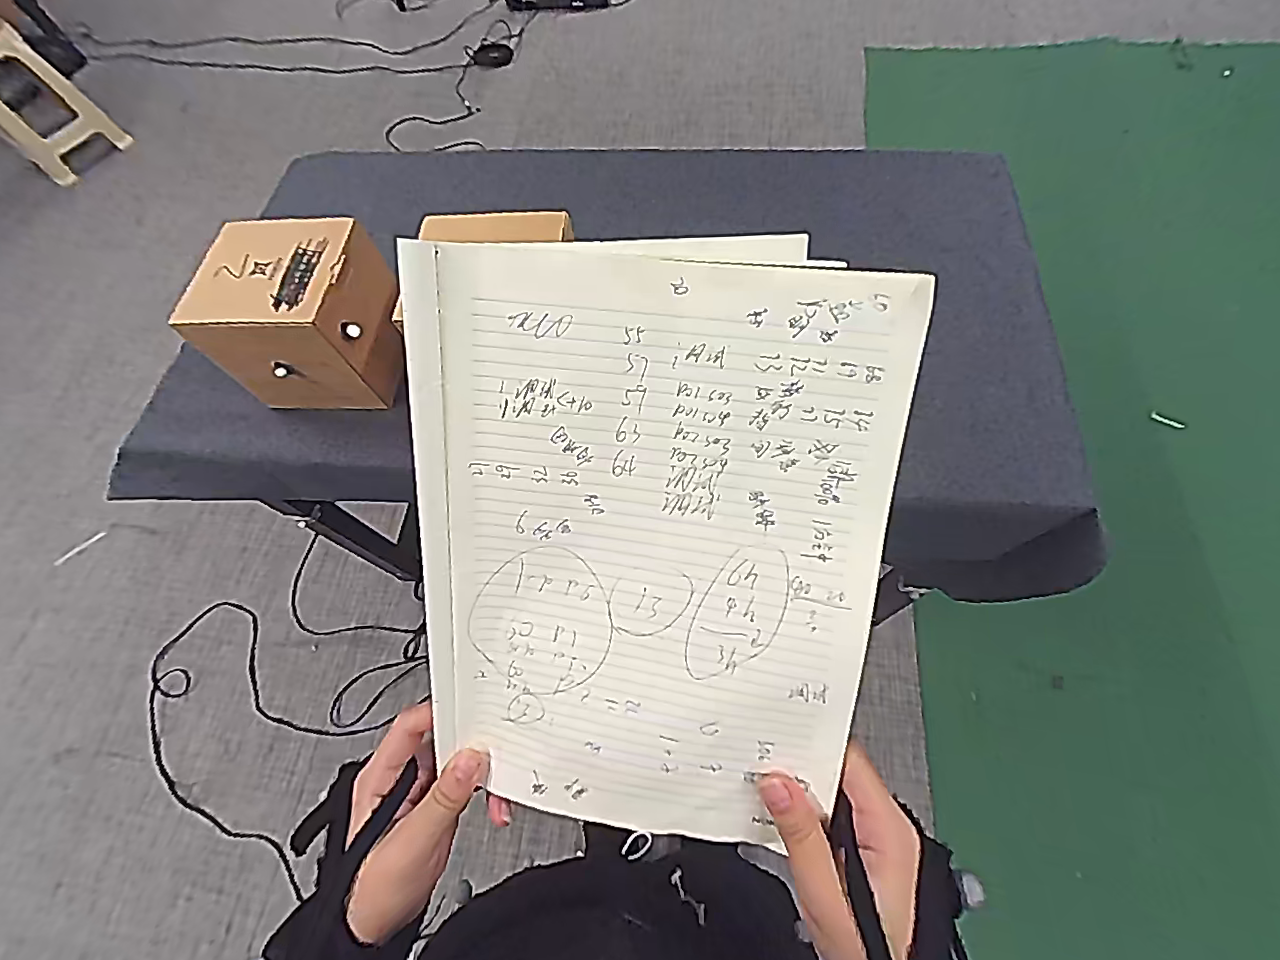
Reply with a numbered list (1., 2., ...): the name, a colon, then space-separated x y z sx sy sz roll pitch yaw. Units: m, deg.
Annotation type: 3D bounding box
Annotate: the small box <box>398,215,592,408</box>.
1. small box: -0.164 -0.202 0.677 0.179 0.176 0.168 0 63 5
